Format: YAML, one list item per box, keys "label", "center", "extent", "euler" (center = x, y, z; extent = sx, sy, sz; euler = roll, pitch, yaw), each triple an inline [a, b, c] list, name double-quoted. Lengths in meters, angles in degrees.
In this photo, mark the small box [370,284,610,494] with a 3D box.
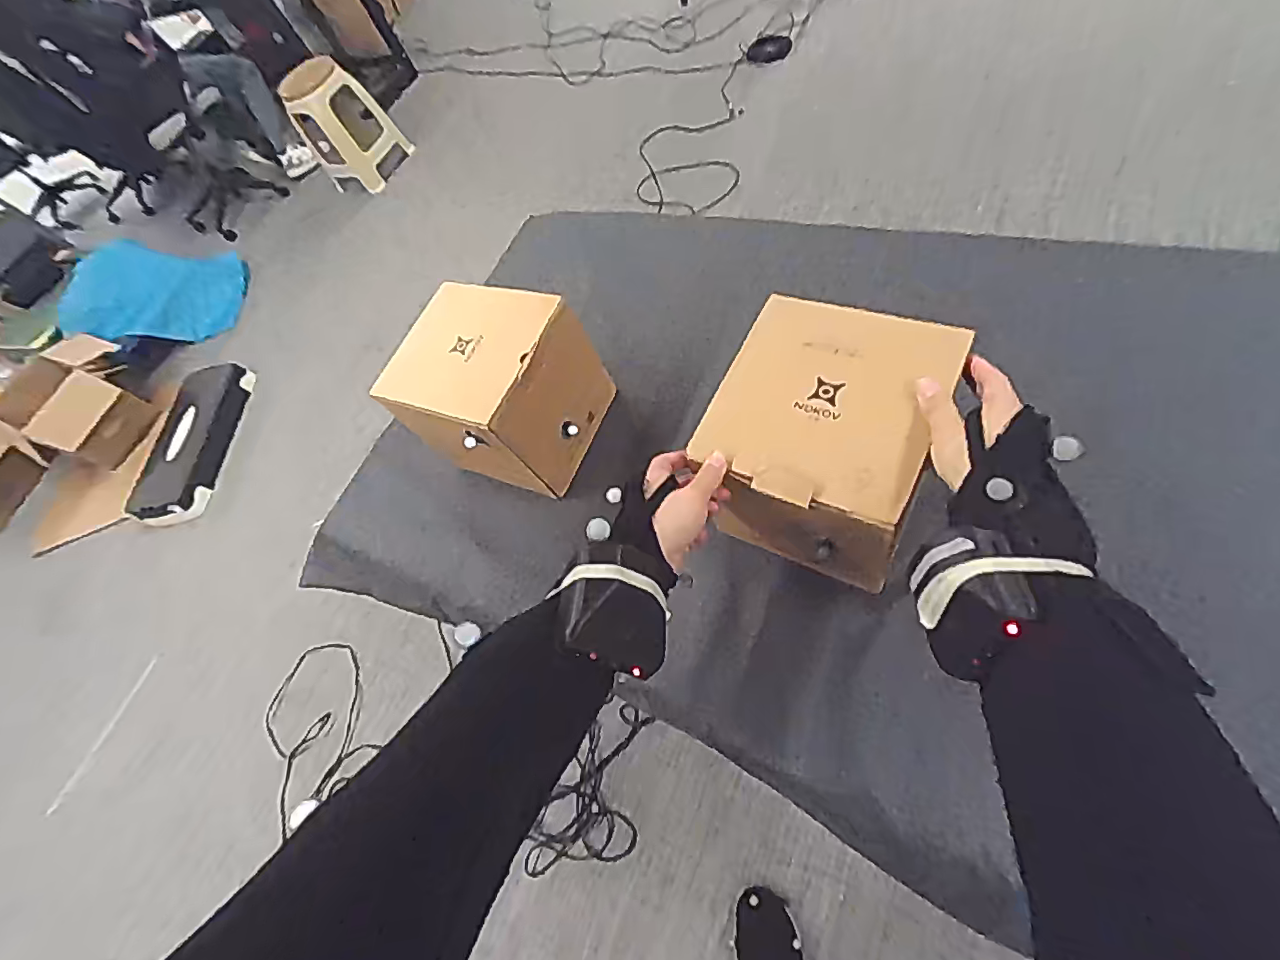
- label: "small box"
  center: [-0.163, -0.102, 0.639]
  extent: [0.179, 0.176, 0.168]
  euler: [16, 69, 24]
